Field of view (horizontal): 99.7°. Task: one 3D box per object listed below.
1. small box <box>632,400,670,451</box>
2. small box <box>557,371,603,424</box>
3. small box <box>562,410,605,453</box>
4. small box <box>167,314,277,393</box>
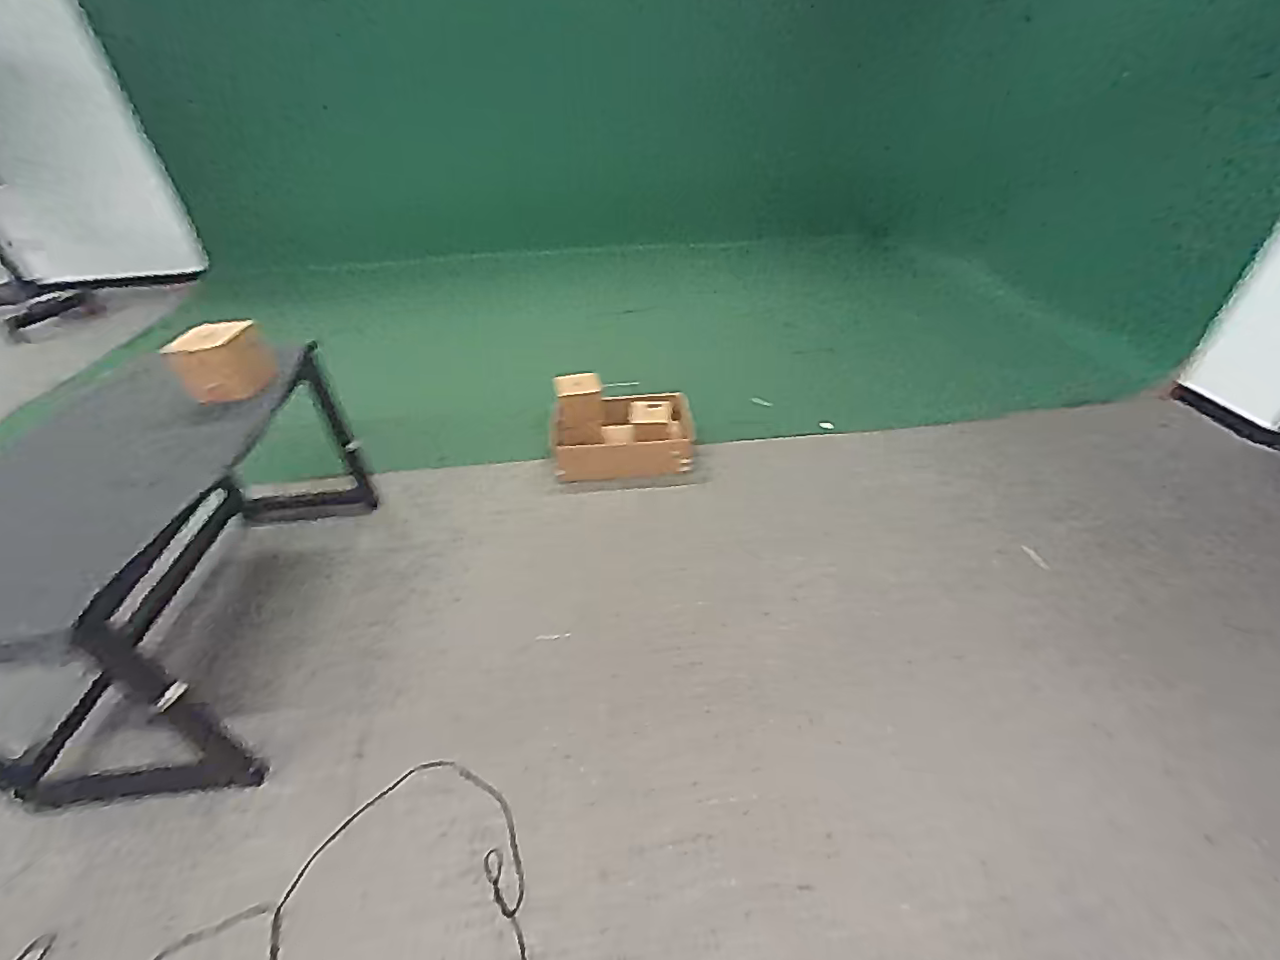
[{"bbox_3d":[0.053,-0.253,2.493,0.168,0.176,0.179,1,41,3],"label":"small box"},{"bbox_3d":[-0.263,-0.359,2.372,0.179,0.176,0.168,-7,41,-11],"label":"small box"},{"bbox_3d":[-0.256,-0.234,2.478,0.179,0.176,0.168,-3,40,-1],"label":"small box"},{"bbox_3d":[-1.220,-0.375,1.600,0.168,0.176,0.179,-3,40,2],"label":"small box"}]
